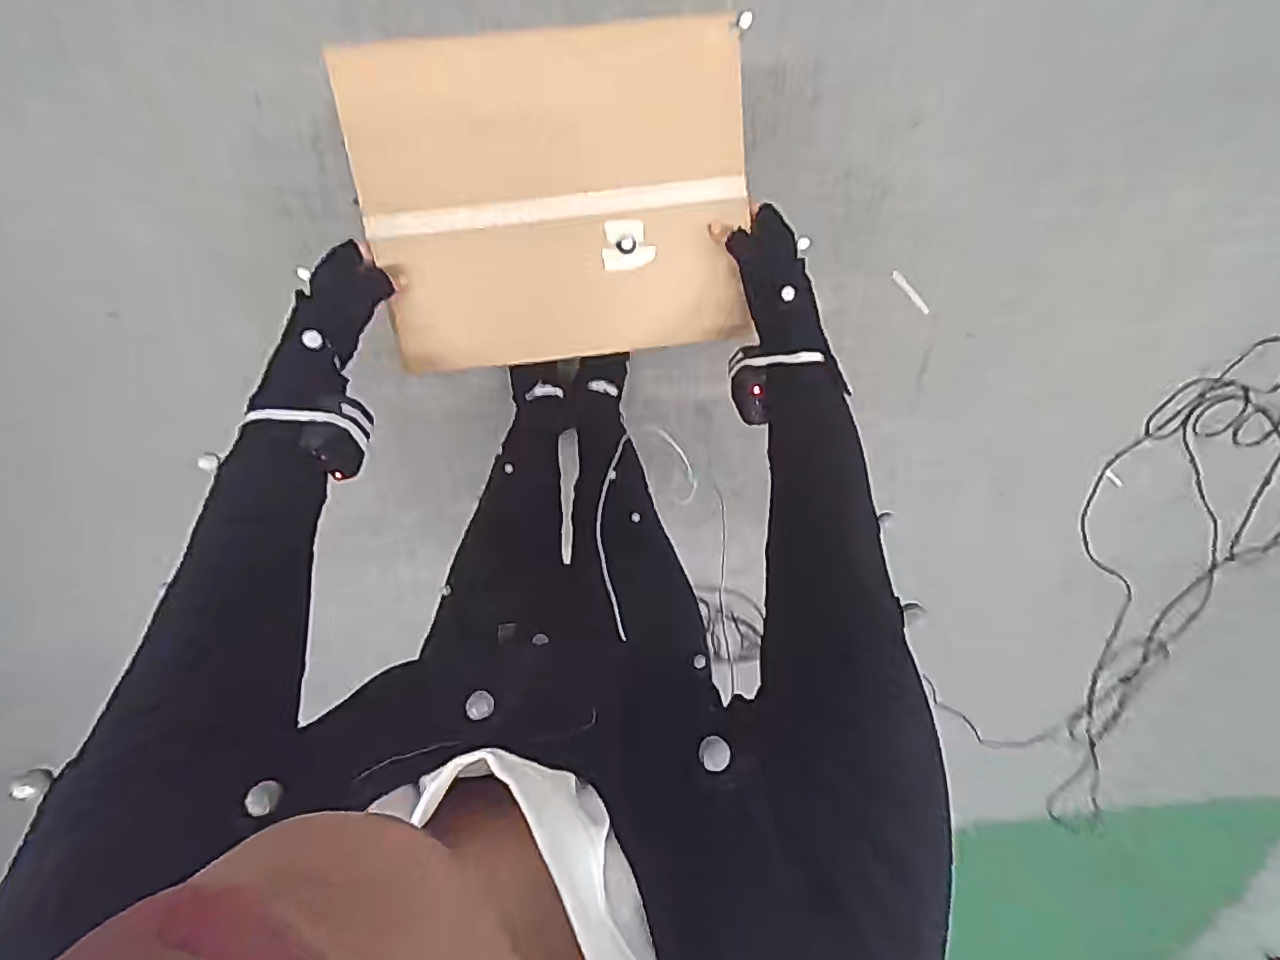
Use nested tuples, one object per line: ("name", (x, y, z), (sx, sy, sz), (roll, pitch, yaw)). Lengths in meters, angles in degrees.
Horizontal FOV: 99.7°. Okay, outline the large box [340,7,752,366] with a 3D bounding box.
("large box", (-0.095, -0.348, 0.721), (0.408, 0.320, 0.320), (-8, 110, -3))
